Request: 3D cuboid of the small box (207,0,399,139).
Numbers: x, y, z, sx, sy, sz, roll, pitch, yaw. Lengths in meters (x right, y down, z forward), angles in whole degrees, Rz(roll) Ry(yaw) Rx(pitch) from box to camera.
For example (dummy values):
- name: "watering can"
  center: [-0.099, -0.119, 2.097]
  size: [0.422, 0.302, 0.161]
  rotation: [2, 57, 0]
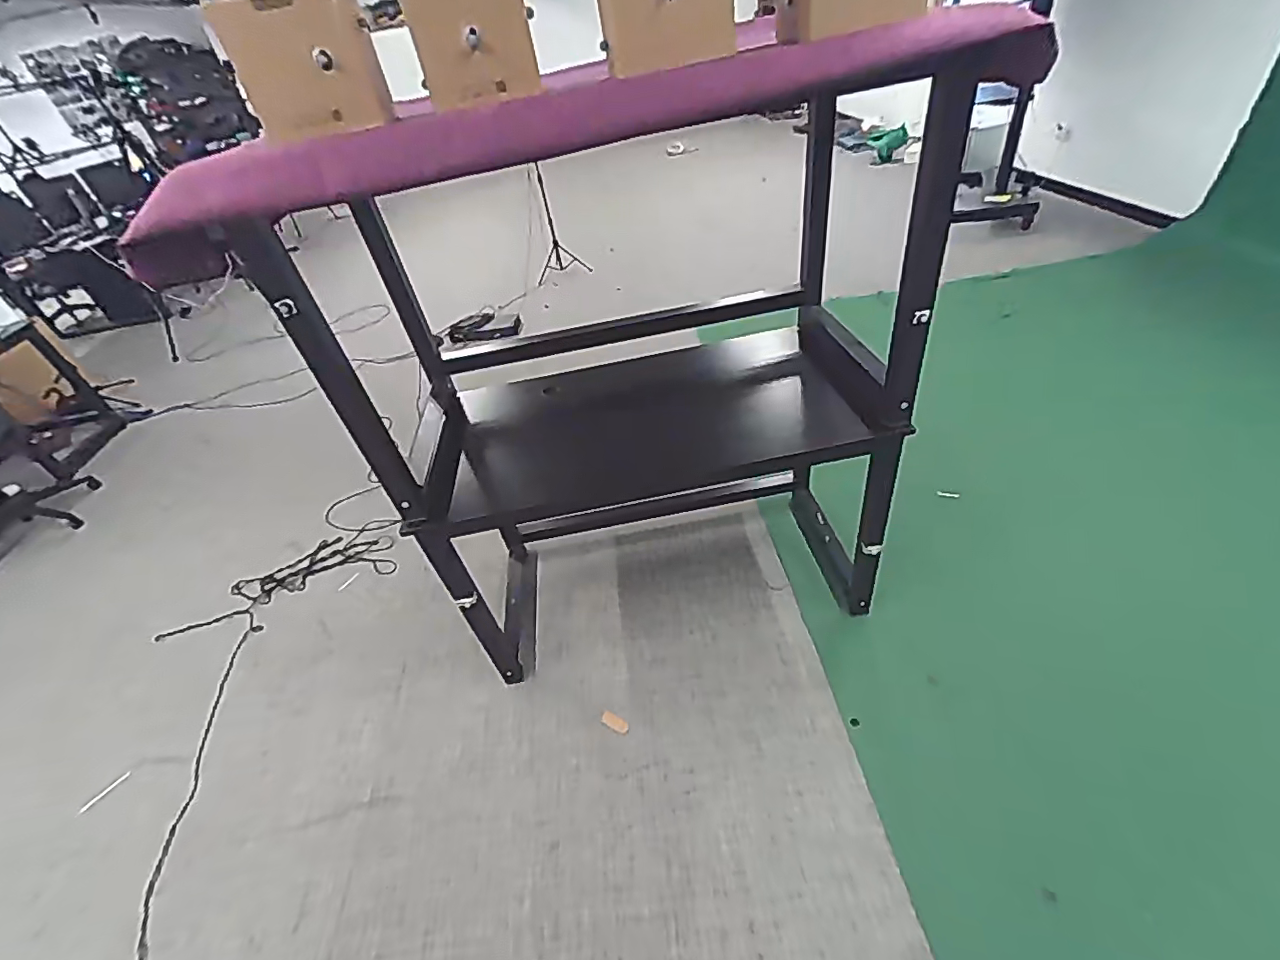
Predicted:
- name: "small box"
  center: [-0.481, -0.623, 0.806]
  size: [0.168, 0.176, 0.179]
  rotation: [-14, 39, -5]

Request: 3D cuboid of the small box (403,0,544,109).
- name: "small box"
  center: [-0.246, -0.676, 0.815]
  size: [0.168, 0.176, 0.179]
  rotation: [-13, 40, -3]

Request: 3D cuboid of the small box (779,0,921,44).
- name: "small box"
  center: [0.310, -0.766, 0.792]
  size: [0.179, 0.176, 0.168]
  rotation: [-12, 40, 1]
